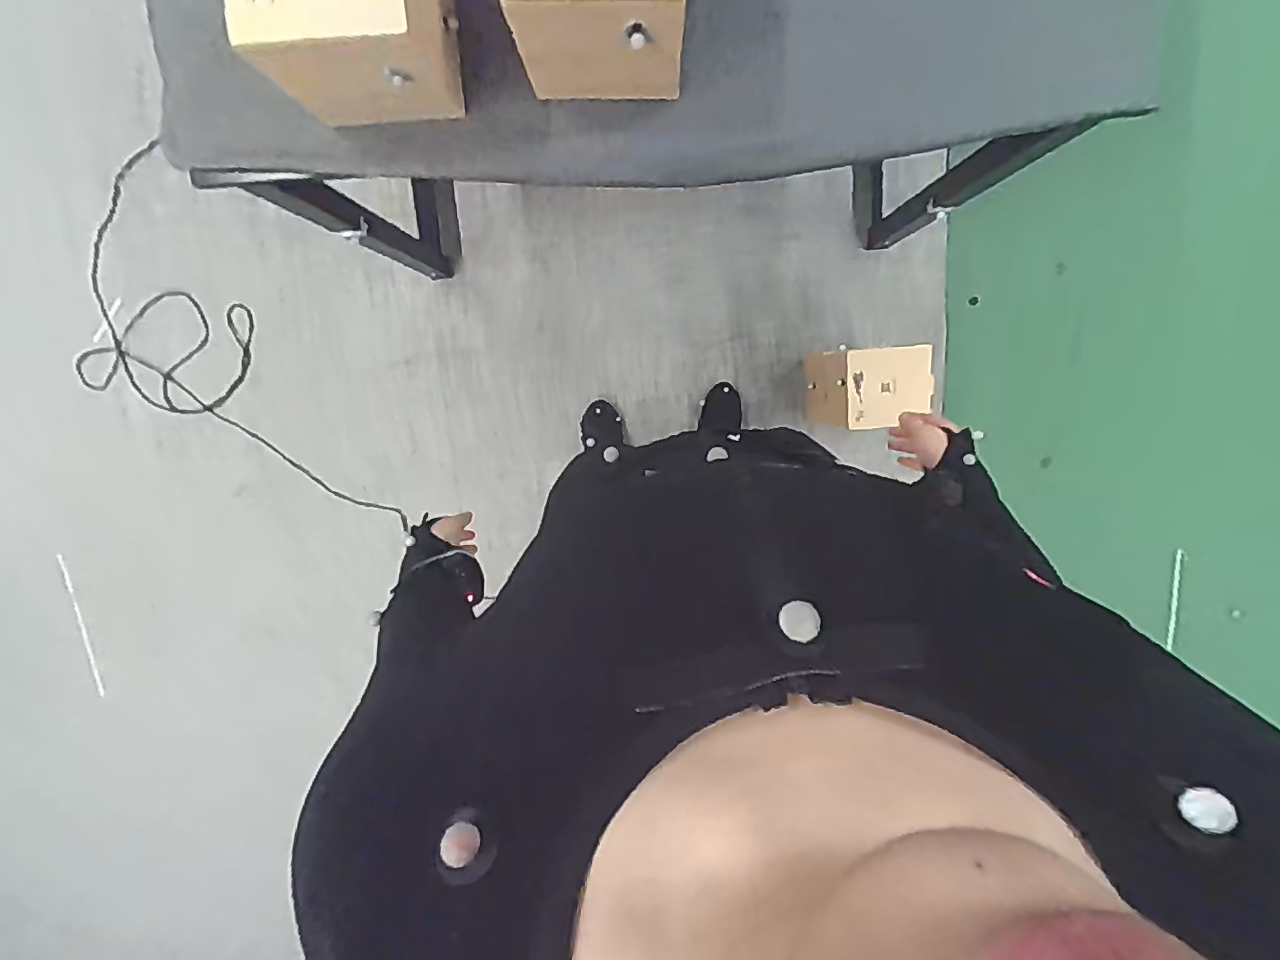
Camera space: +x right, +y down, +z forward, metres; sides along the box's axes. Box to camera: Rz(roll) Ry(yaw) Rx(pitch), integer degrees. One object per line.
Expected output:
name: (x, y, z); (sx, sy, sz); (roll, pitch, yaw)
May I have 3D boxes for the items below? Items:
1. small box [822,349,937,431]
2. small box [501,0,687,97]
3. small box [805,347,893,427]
small box: (0.516, -0.201, 1.185); (0.179, 0.176, 0.168); (-2, 101, 2)
small box: (-0.039, -0.535, 0.567); (0.179, 0.176, 0.168); (2, 98, 2)
small box: (0.517, -0.232, 1.348); (0.168, 0.176, 0.179); (-5, 99, 2)
